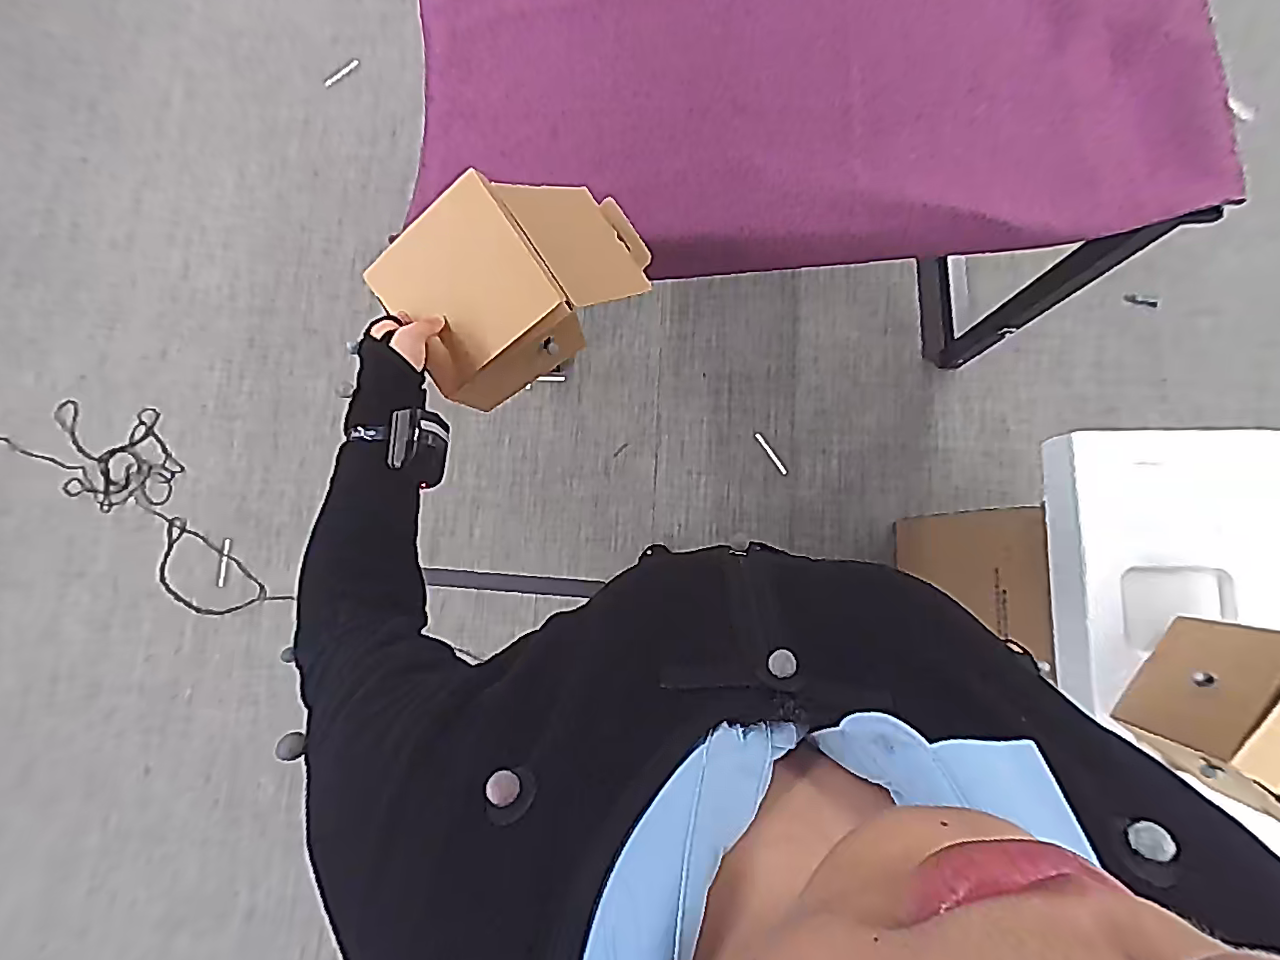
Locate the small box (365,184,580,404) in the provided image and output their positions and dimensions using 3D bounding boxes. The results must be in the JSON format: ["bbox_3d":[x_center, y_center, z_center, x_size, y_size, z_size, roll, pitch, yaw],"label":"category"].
[{"bbox_3d":[-0.187,-0.213,0.670,0.179,0.176,0.168,-34,91,1],"label":"small box"}]
